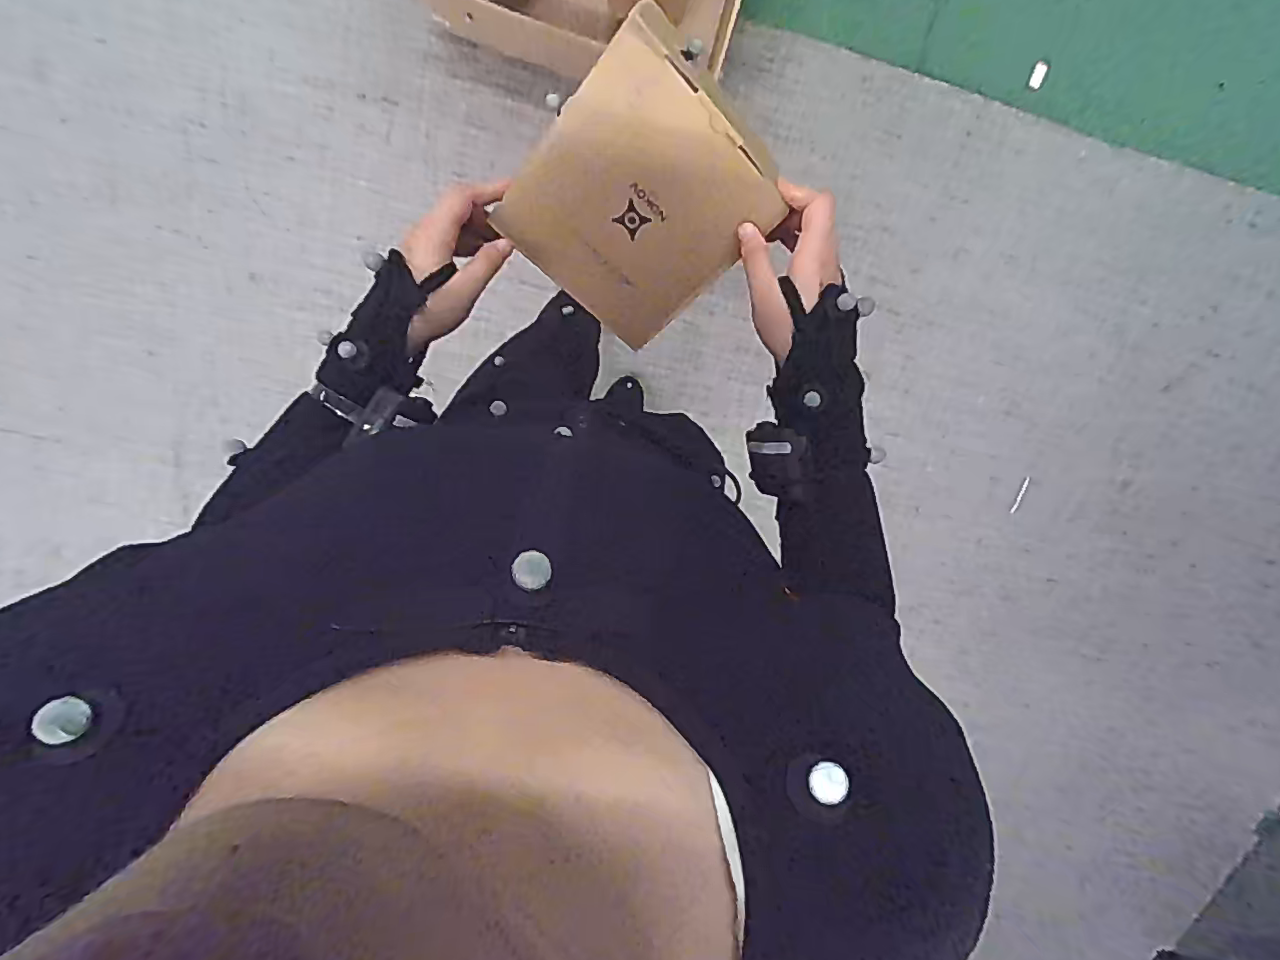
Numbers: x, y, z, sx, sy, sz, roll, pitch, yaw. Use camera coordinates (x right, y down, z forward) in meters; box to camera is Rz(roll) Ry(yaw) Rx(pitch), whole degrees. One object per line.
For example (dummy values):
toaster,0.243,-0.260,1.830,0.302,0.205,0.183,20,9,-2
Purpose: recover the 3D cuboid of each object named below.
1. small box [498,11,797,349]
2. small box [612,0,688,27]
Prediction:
small box,0.008,-0.260,0.473,0.168,0.176,0.179,36,127,-25
small box,0.036,-1.027,1.031,0.168,0.176,0.179,18,107,-7
